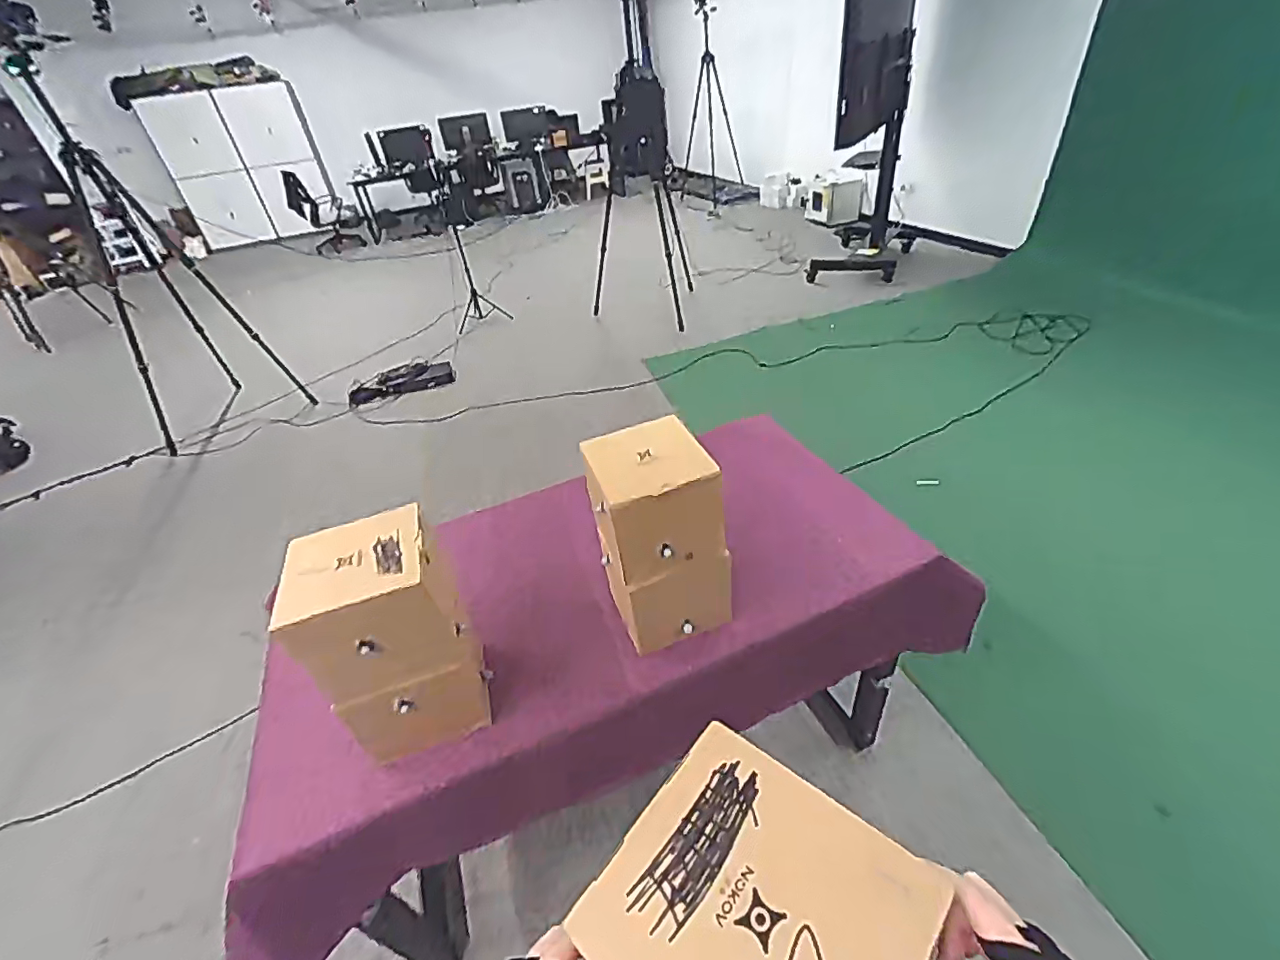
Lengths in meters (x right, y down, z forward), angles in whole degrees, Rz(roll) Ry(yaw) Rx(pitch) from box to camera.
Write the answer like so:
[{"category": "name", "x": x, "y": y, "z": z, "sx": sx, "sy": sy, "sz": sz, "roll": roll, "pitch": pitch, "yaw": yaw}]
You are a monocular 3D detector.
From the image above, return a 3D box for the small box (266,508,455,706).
[{"category": "small box", "x": -0.363, "y": 0.172, "z": 0.740, "sx": 0.179, "sy": 0.176, "sz": 0.168, "roll": -18, "pitch": 39, "yaw": -12}]

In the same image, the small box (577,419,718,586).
[{"category": "small box", "x": 0.012, "y": 0.033, "z": 0.851, "sx": 0.168, "sy": 0.176, "sz": 0.179, "roll": -18, "pitch": 39, "yaw": -12}]

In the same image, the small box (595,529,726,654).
[{"category": "small box", "x": 0.036, "y": 0.167, "z": 0.942, "sx": 0.179, "sy": 0.176, "sz": 0.168, "roll": -18, "pitch": 38, "yaw": -13}]

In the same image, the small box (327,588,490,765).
[{"category": "small box", "x": -0.348, "y": 0.304, "z": 0.837, "sx": 0.179, "sy": 0.176, "sz": 0.168, "roll": -17, "pitch": 39, "yaw": -12}]
